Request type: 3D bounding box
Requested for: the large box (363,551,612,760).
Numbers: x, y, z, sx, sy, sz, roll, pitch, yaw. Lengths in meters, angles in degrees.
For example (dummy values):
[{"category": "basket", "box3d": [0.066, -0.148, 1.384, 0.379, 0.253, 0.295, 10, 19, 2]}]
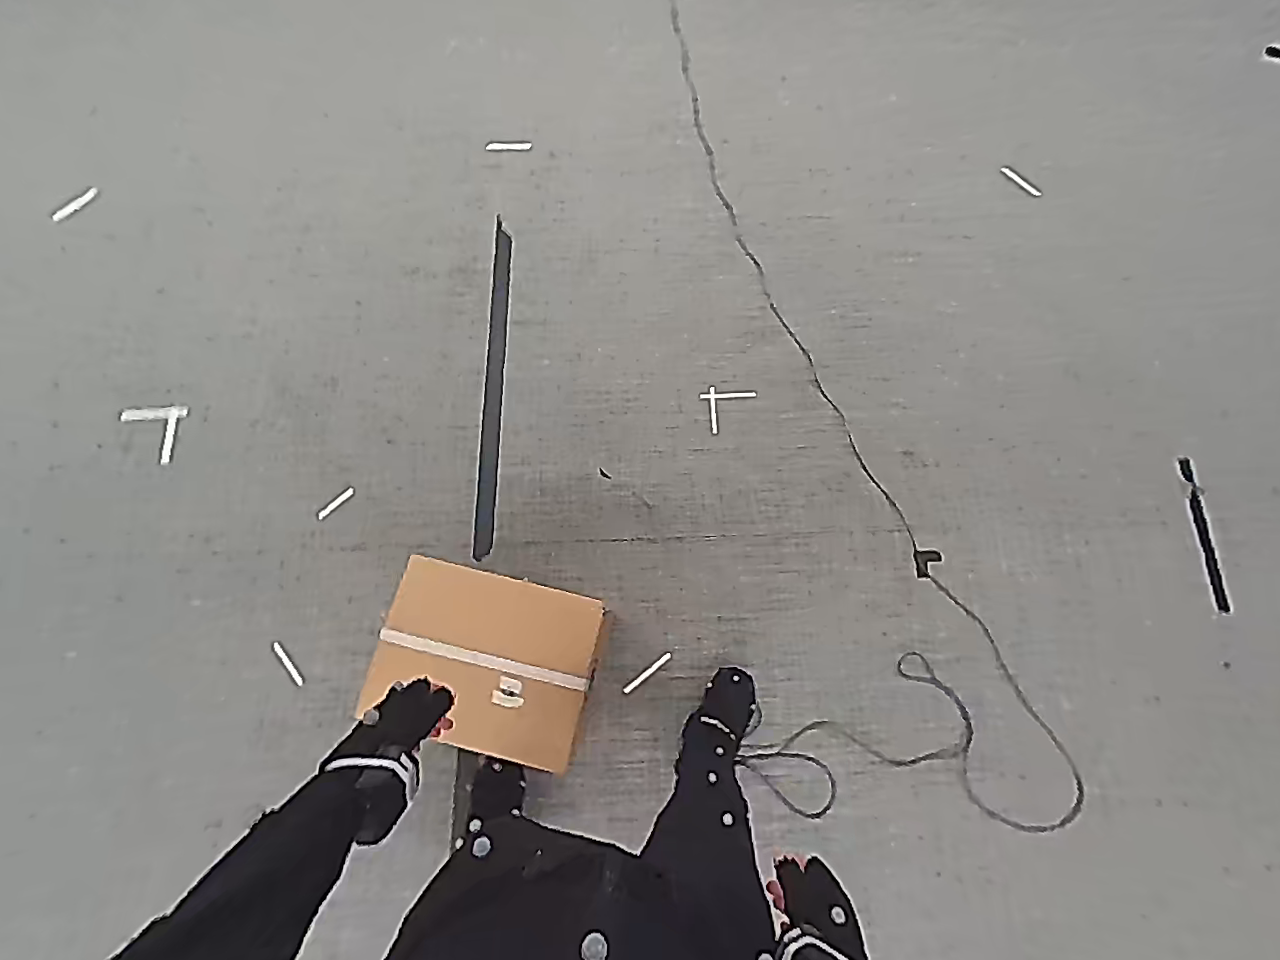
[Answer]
[{"category": "large box", "box3d": [-0.294, 0.368, 1.175, 0.408, 0.320, 0.320, 14, 75, 3]}]
